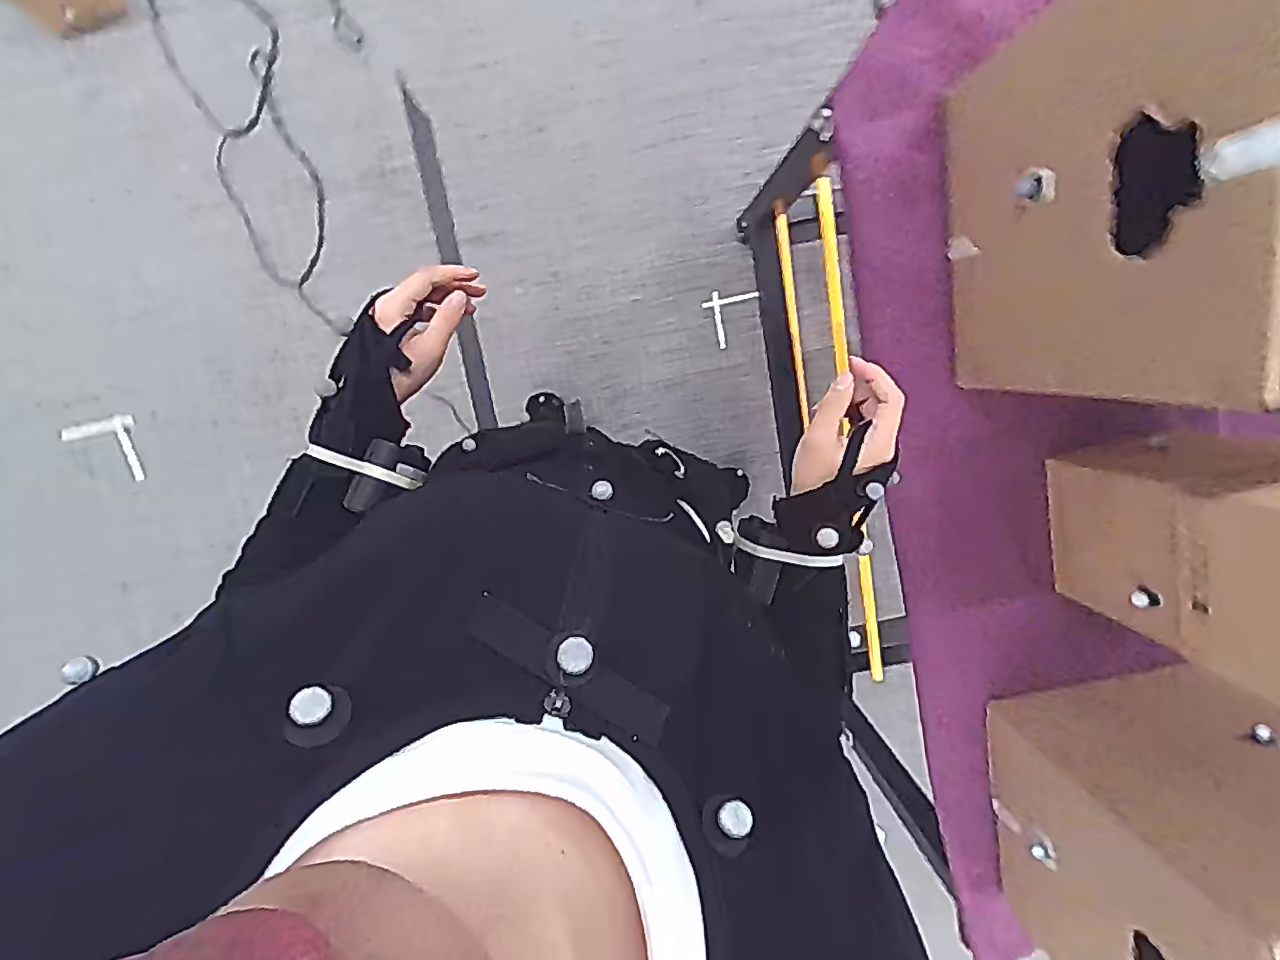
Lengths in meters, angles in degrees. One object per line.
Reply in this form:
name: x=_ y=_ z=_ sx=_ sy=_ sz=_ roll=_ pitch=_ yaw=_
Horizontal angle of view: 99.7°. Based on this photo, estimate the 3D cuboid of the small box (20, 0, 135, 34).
small box: x=-1.165 y=-1.036 z=1.055 sx=0.168 sy=0.176 sz=0.179 roll=-17 pitch=101 yaw=2
